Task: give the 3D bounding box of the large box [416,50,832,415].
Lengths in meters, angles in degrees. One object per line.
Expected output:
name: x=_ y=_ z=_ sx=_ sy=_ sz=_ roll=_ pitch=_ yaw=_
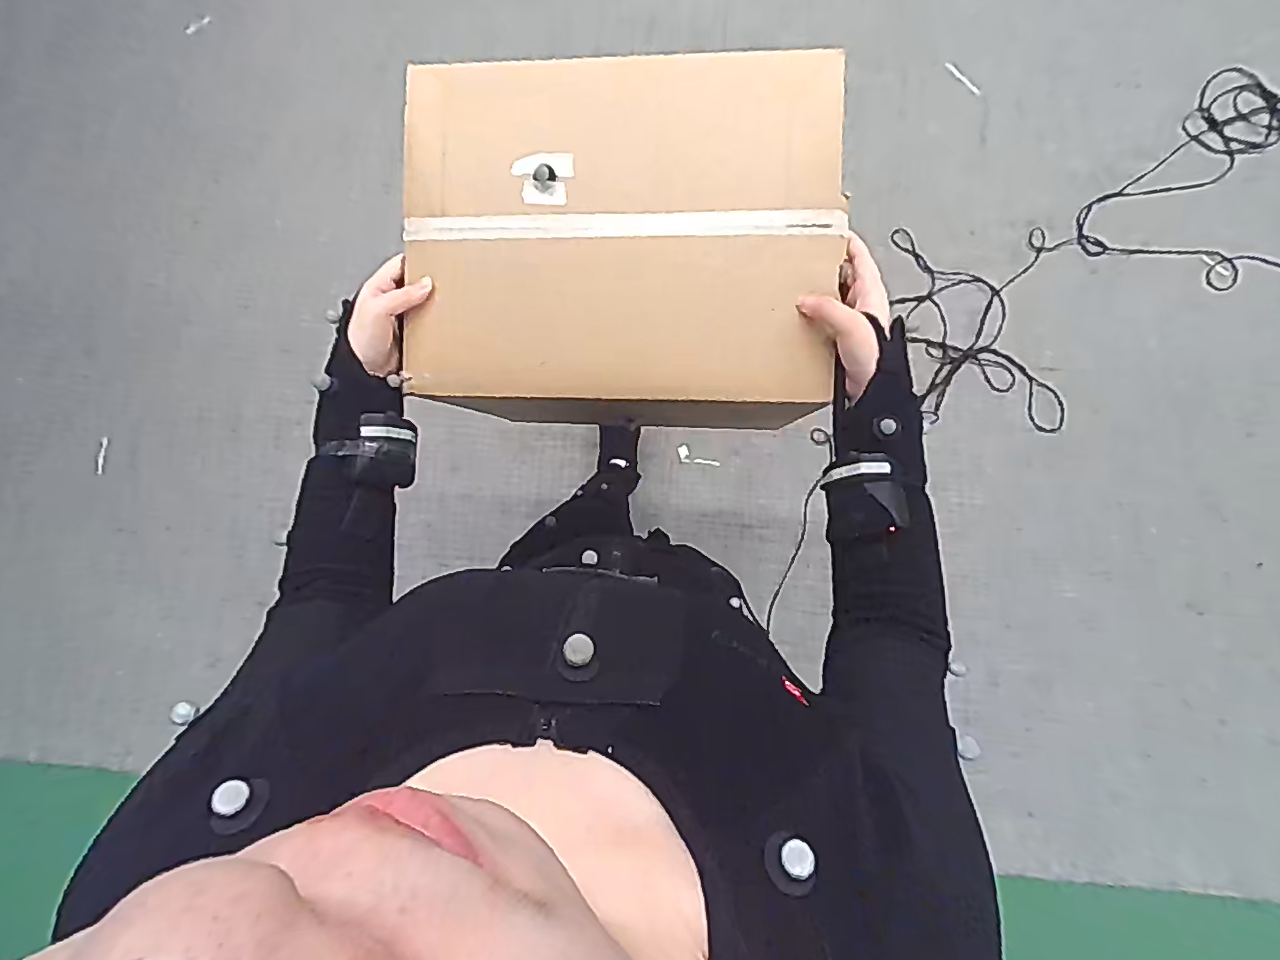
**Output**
large box: x=-0.005 y=-0.243 z=0.661 sx=0.408 sy=0.320 sz=0.320 roll=2 pitch=91 yaw=7
